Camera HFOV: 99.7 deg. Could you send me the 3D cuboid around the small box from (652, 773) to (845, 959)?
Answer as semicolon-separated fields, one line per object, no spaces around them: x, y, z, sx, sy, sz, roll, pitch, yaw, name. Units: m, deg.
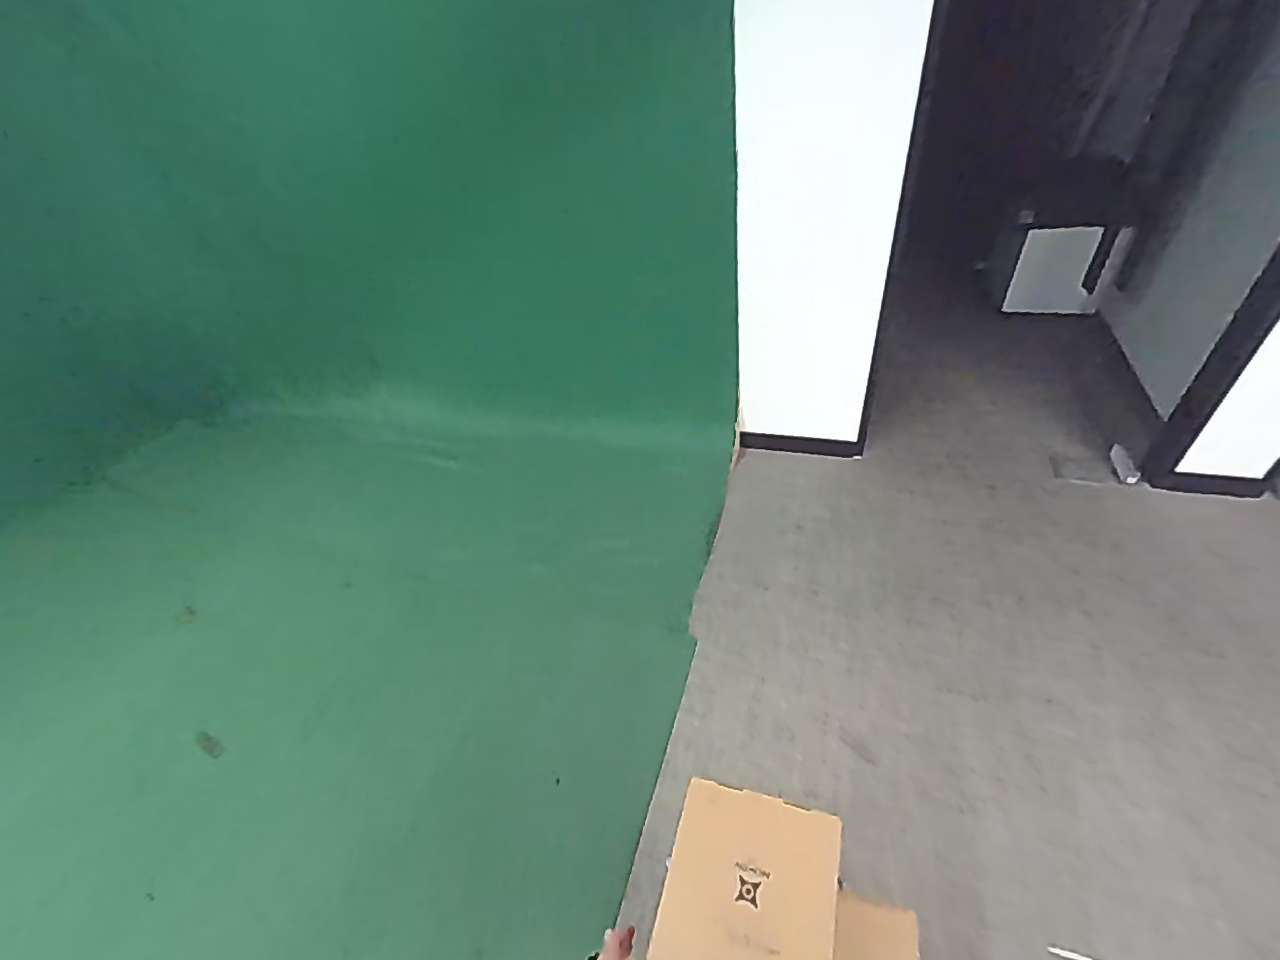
0.127;0.463;0.593;0.168;0.176;0.179;5;45;22;small box
